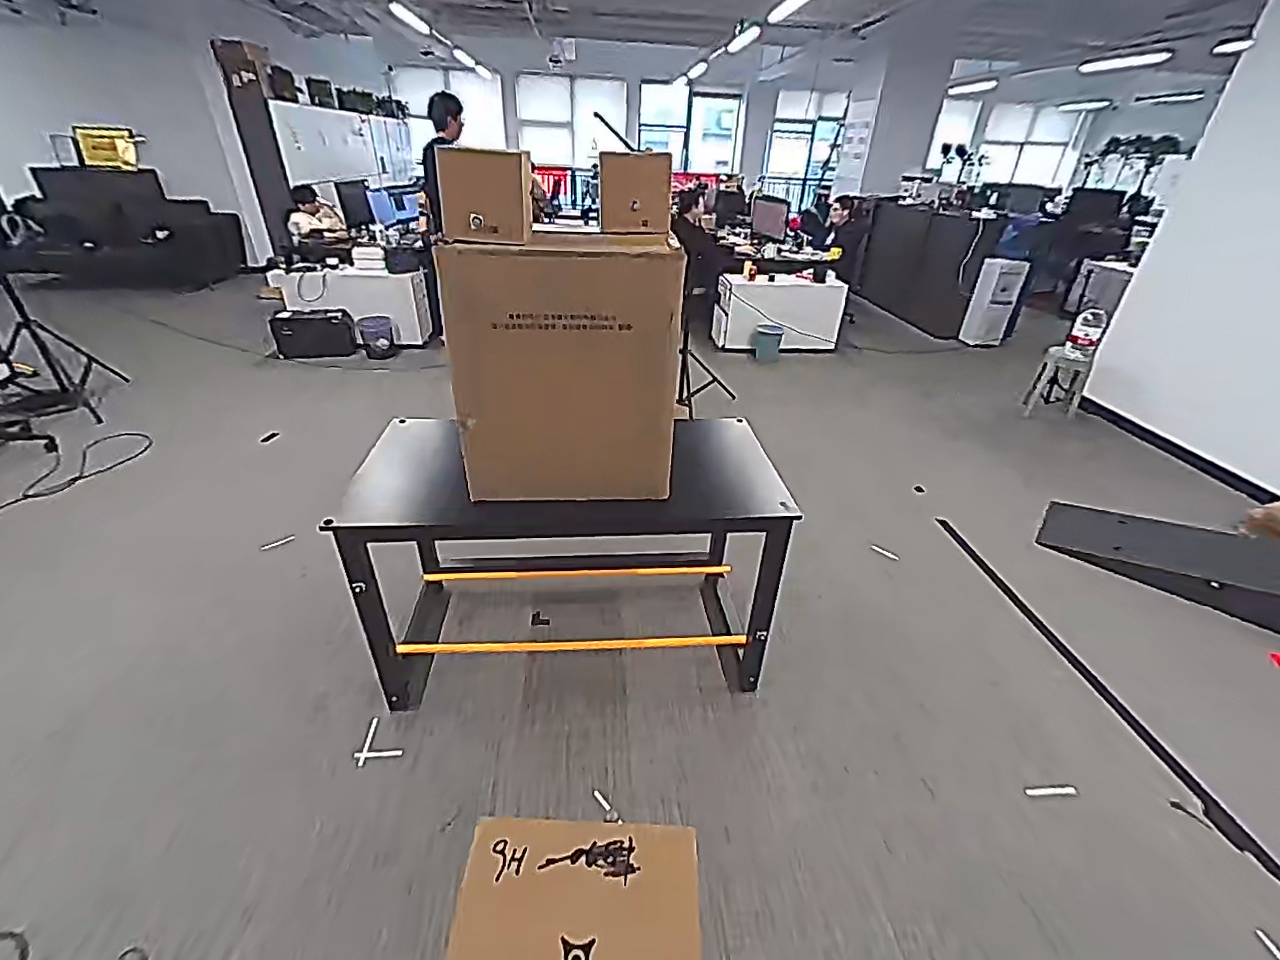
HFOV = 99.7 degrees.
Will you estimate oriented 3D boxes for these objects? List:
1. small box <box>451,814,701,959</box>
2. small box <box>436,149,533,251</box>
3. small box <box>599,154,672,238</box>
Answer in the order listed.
[{"bbox_3d":[-0.044,0.373,0.402,0.168,0.176,0.179,3,44,-1],"label":"small box"},{"bbox_3d":[-0.317,-0.591,1.139,0.168,0.176,0.179,0,33,-6],"label":"small box"},{"bbox_3d":[-0.018,-0.694,1.325,0.168,0.176,0.179,-2,29,-5],"label":"small box"}]
